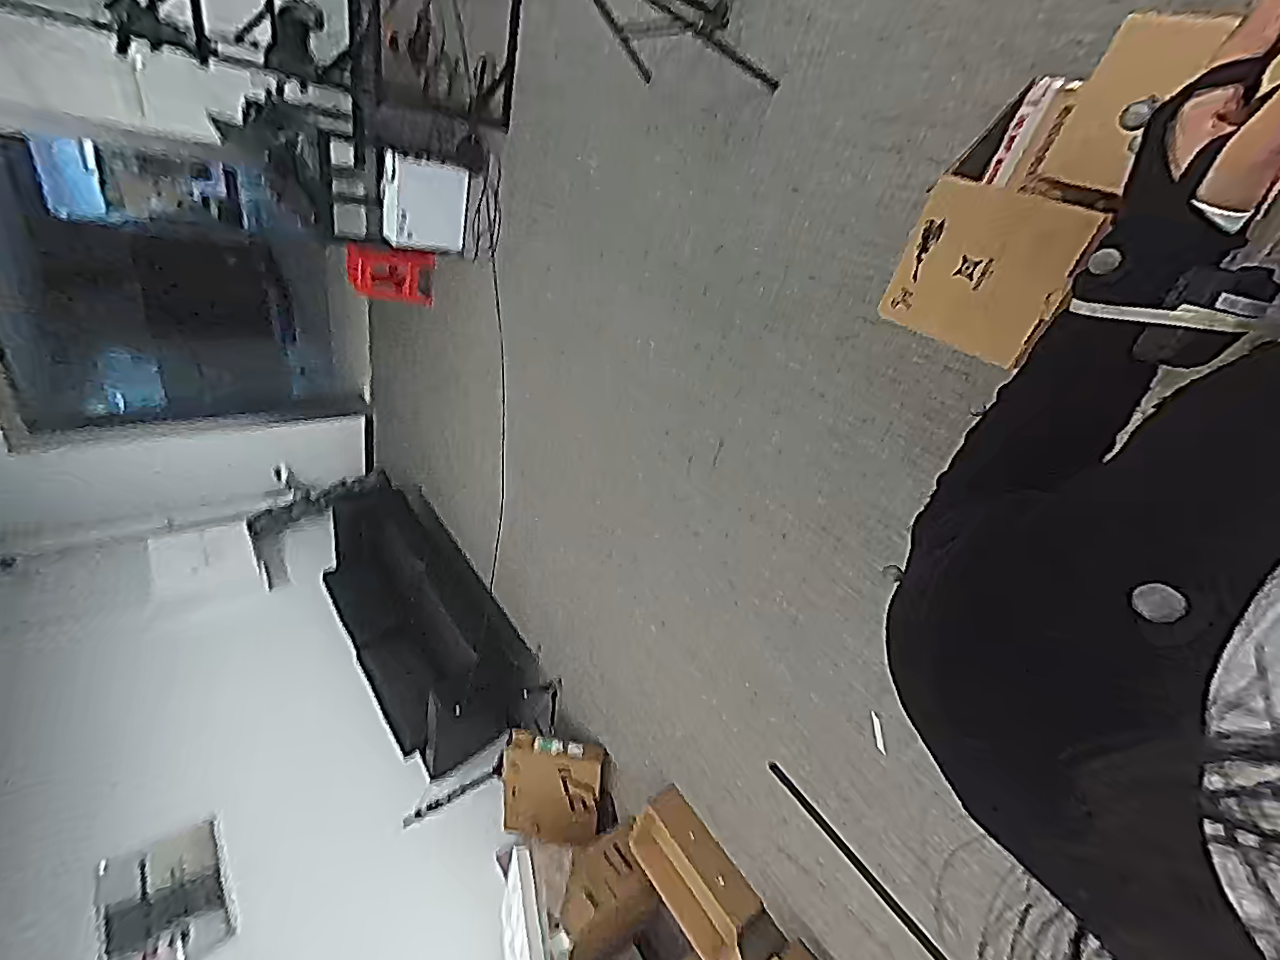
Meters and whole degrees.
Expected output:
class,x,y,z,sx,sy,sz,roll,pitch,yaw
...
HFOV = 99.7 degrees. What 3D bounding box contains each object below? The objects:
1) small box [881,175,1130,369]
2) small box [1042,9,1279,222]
class,x,y,z,sx,sy,sz,roll,pitch,yaw
small box,0.442,-0.253,0.658,0.179,0.176,0.168,40,130,33
small box,0.635,-0.420,0.639,0.179,0.176,0.168,41,128,34
